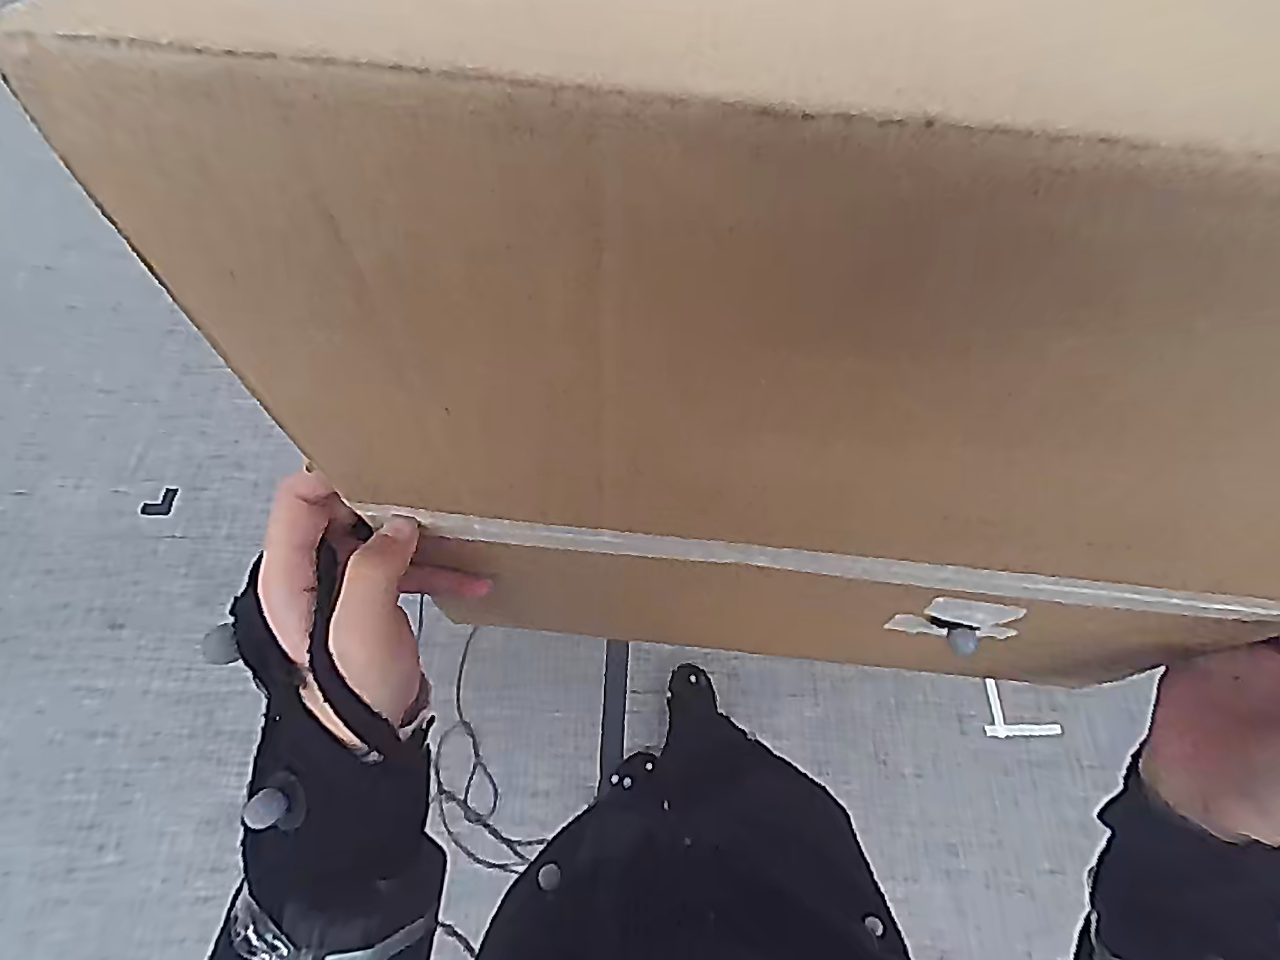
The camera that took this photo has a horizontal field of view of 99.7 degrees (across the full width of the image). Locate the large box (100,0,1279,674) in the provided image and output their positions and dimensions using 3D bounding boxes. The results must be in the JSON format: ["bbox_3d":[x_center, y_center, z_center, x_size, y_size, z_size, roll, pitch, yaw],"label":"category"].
[{"bbox_3d":[0.092,-0.097,0.307,0.408,0.320,0.320,5,59,0],"label":"large box"}]
